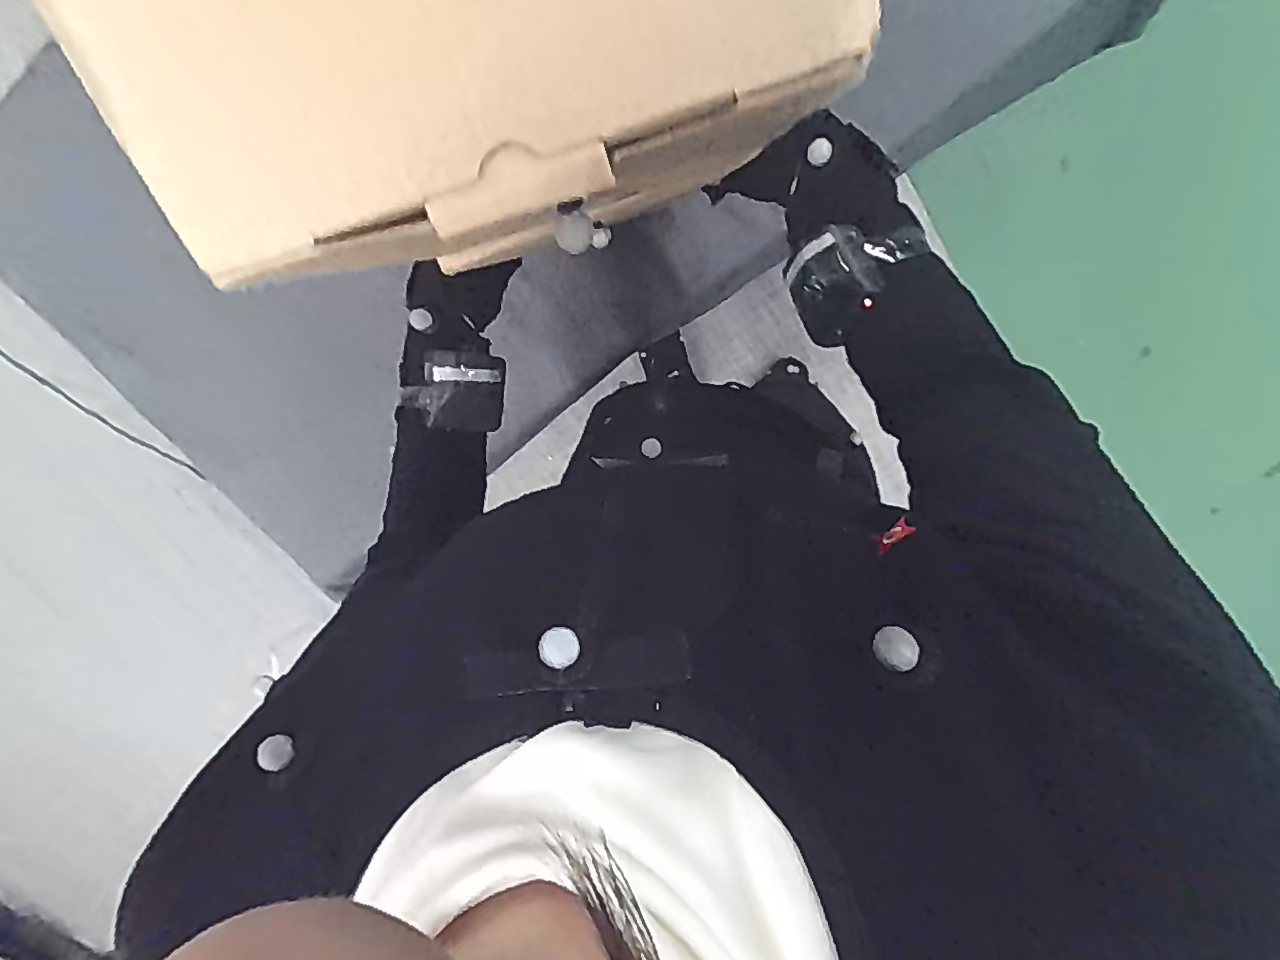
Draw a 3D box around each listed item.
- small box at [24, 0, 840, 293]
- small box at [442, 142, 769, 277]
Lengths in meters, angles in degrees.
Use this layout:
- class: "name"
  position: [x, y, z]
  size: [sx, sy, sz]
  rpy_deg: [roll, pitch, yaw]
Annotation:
- class: "small box"
  position: [-0.053, -0.175, 0.163]
  size: [0.168, 0.176, 0.179]
  rpy_deg: [-13, 115, 7]
- class: "small box"
  position: [-0.046, -0.238, 0.314]
  size: [0.179, 0.176, 0.168]
  rpy_deg: [-19, 114, 9]
